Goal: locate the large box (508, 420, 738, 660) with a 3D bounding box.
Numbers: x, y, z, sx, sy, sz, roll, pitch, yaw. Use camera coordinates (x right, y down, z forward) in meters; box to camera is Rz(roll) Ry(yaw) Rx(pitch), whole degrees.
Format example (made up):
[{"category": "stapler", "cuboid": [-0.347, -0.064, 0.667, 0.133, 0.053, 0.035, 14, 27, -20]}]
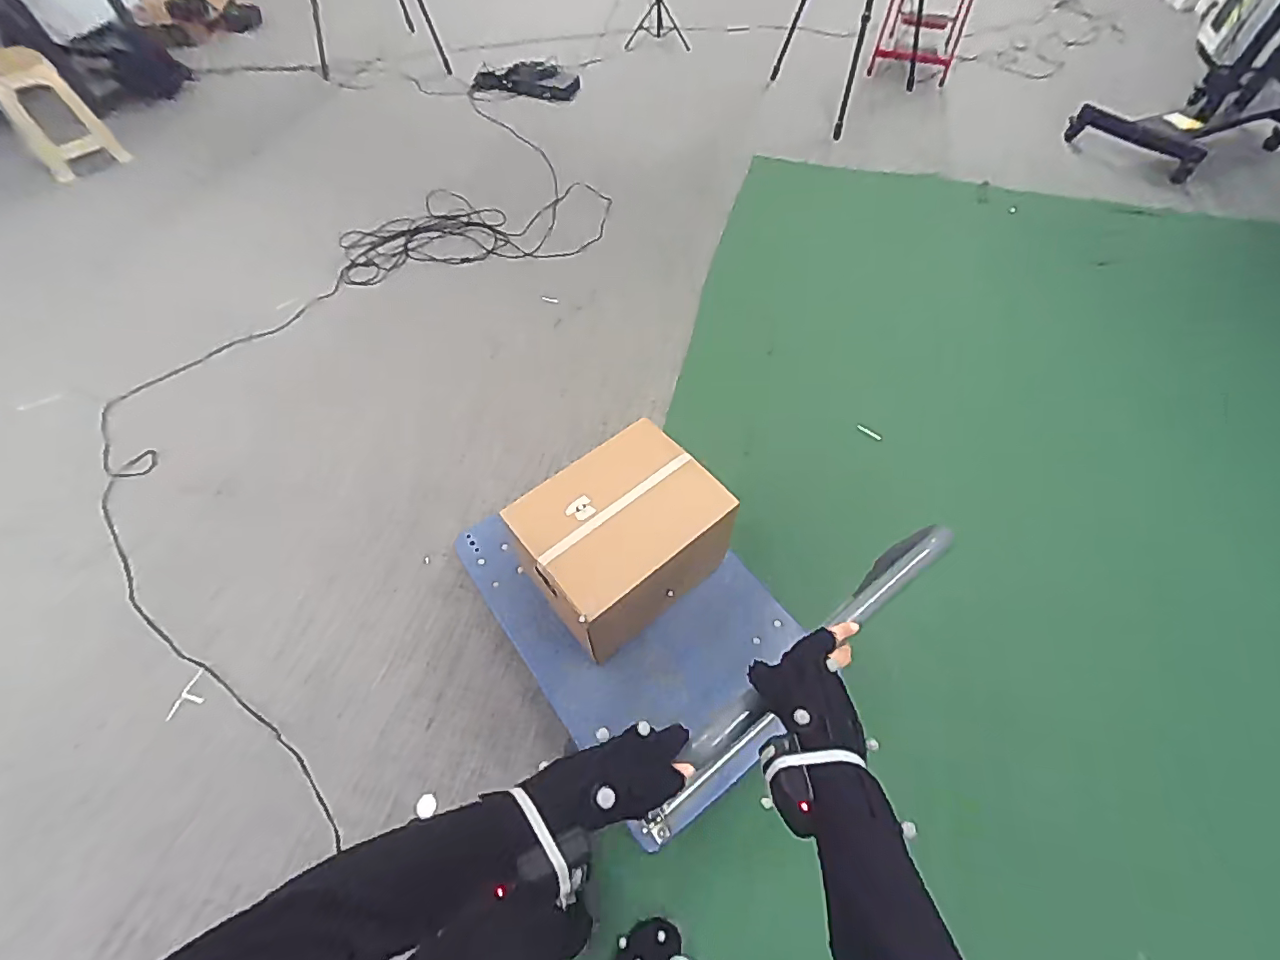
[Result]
[{"category": "large box", "cuboid": [-0.032, 0.142, 1.265, 0.408, 0.320, 0.320, -36, 63, -20]}]
